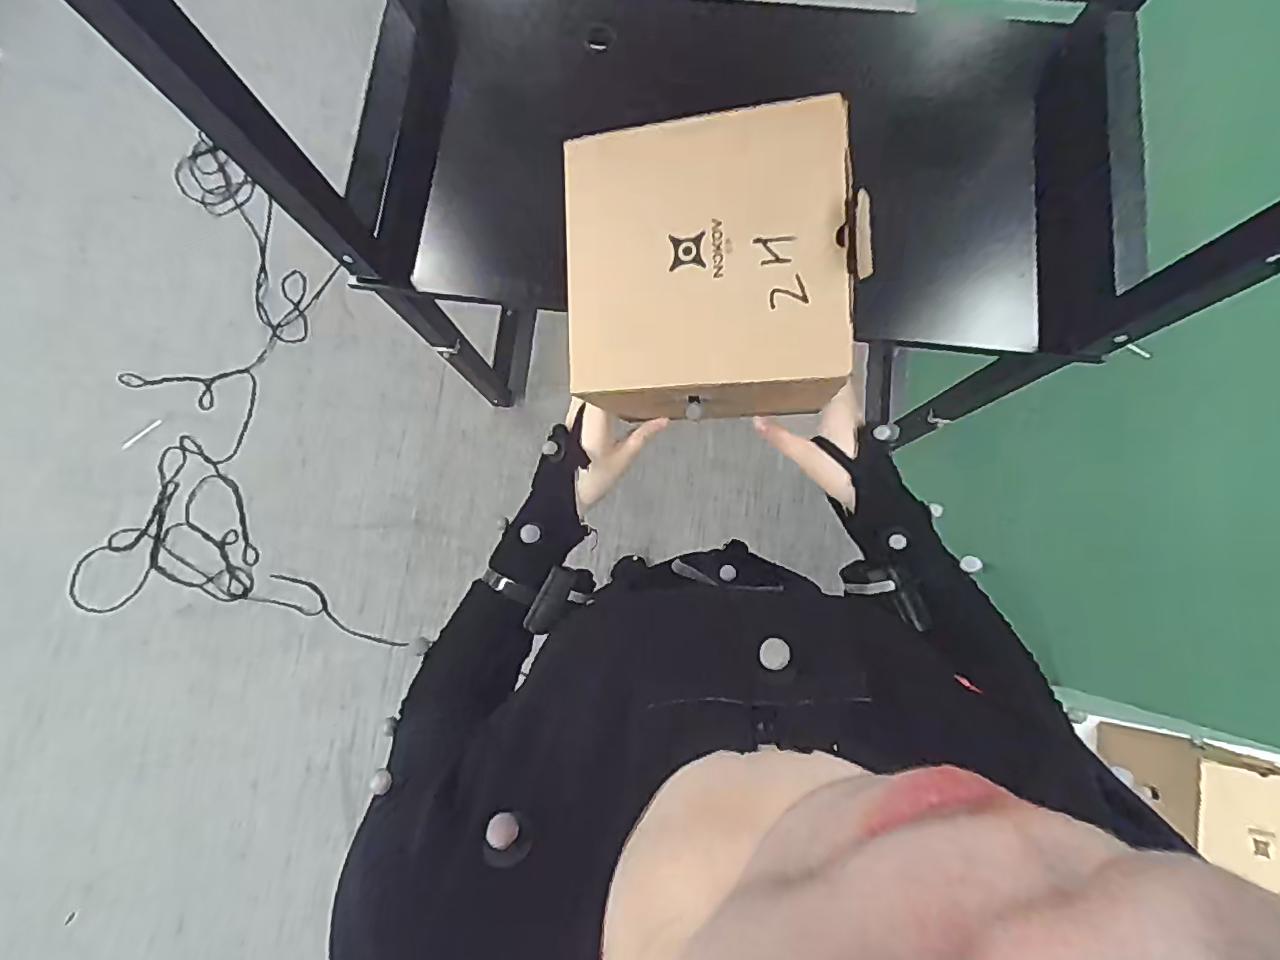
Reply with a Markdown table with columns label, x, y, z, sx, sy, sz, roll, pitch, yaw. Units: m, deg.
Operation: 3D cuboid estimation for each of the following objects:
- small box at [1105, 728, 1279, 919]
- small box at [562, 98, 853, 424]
| label | x | y | z | sx | sy | sz | roll | pitch | yaw |
| --- | --- | --- | --- | --- | --- | --- | --- | --- | --- |
| small box | 0.803 | 0.470 | 0.759 | 0.168 | 0.176 | 0.179 | 10 | 82 | 4 |
| small box | 0.053 | -0.136 | 0.406 | 0.179 | 0.176 | 0.168 | -2 | 89 | 12 |
